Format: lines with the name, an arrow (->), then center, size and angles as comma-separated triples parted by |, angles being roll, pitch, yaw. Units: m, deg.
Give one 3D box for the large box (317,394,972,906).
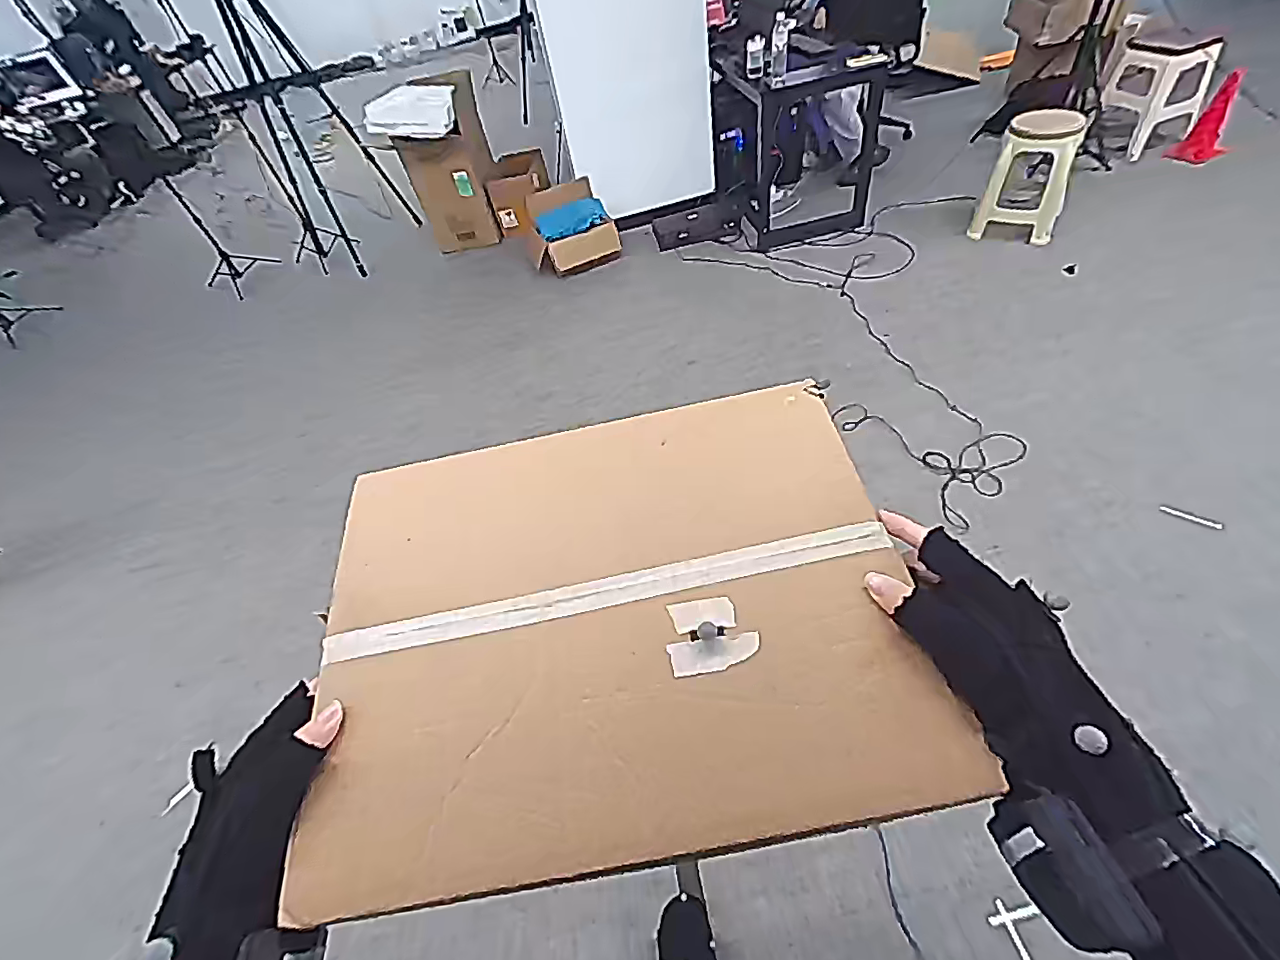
large box -> -0.004, 0.170, 0.521 | 0.408, 0.320, 0.320 | -12, 55, 1
